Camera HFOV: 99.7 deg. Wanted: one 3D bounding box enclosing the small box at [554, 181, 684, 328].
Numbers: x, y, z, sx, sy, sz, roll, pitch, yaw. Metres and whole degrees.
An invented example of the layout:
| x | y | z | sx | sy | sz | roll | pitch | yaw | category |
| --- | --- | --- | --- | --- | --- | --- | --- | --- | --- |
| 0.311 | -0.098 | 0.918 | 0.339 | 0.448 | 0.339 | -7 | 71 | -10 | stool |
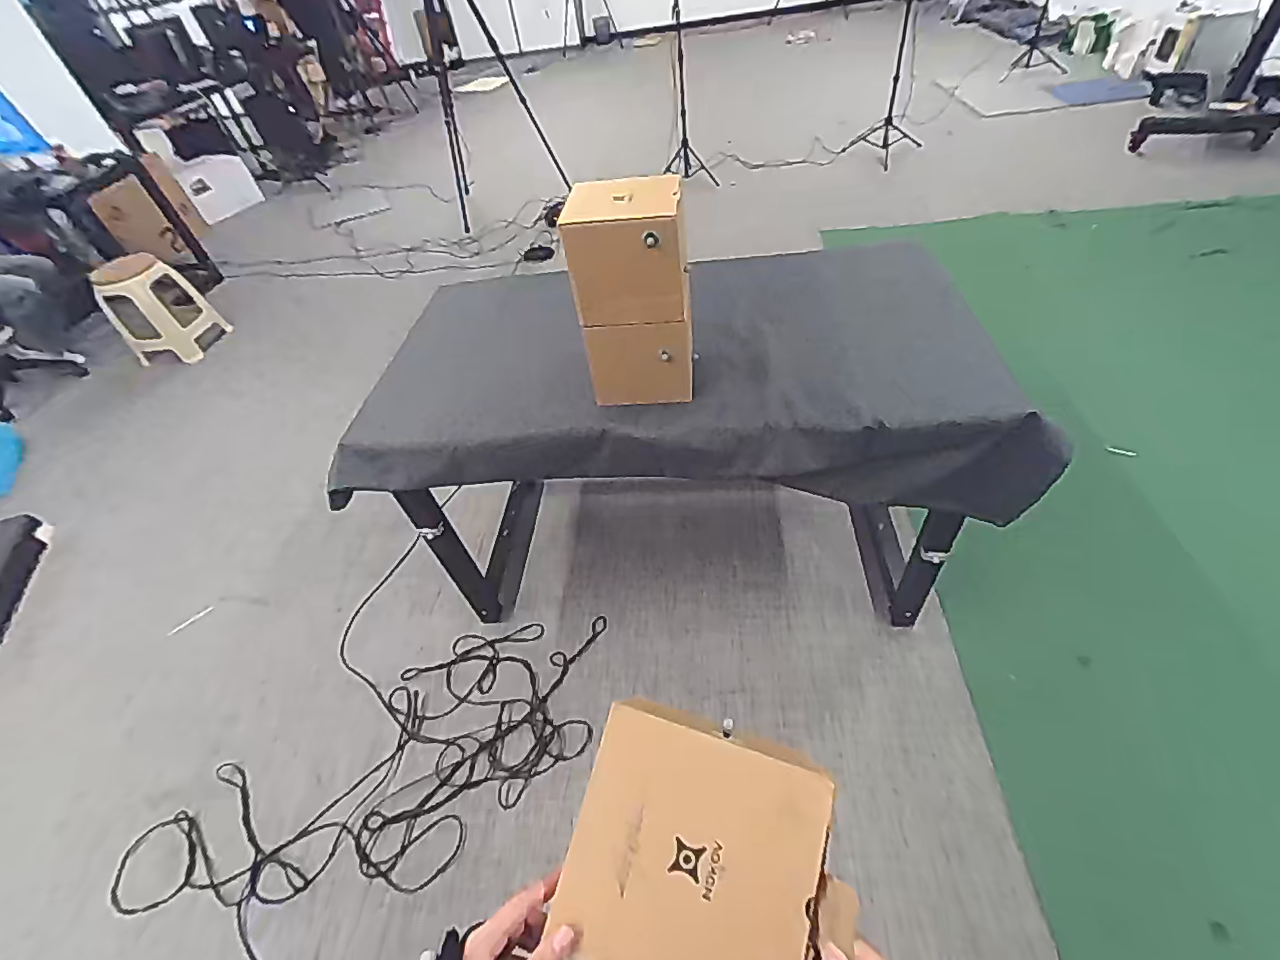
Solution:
| x | y | z | sx | sy | sz | roll | pitch | yaw | category |
| --- | --- | --- | --- | --- | --- | --- | --- | --- | --- |
| -0.023 | -0.359 | 0.872 | 0.179 | 0.176 | 0.168 | -1 | 46 | 7 | small box |

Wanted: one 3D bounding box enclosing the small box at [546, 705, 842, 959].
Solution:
| x | y | z | sx | sy | sz | roll | pitch | yaw | category |
| --- | --- | --- | --- | --- | --- | --- | --- | --- | --- |
| 0.048 | 0.295 | 0.452 | 0.179 | 0.176 | 0.168 | 13 | 70 | 12 | small box |
